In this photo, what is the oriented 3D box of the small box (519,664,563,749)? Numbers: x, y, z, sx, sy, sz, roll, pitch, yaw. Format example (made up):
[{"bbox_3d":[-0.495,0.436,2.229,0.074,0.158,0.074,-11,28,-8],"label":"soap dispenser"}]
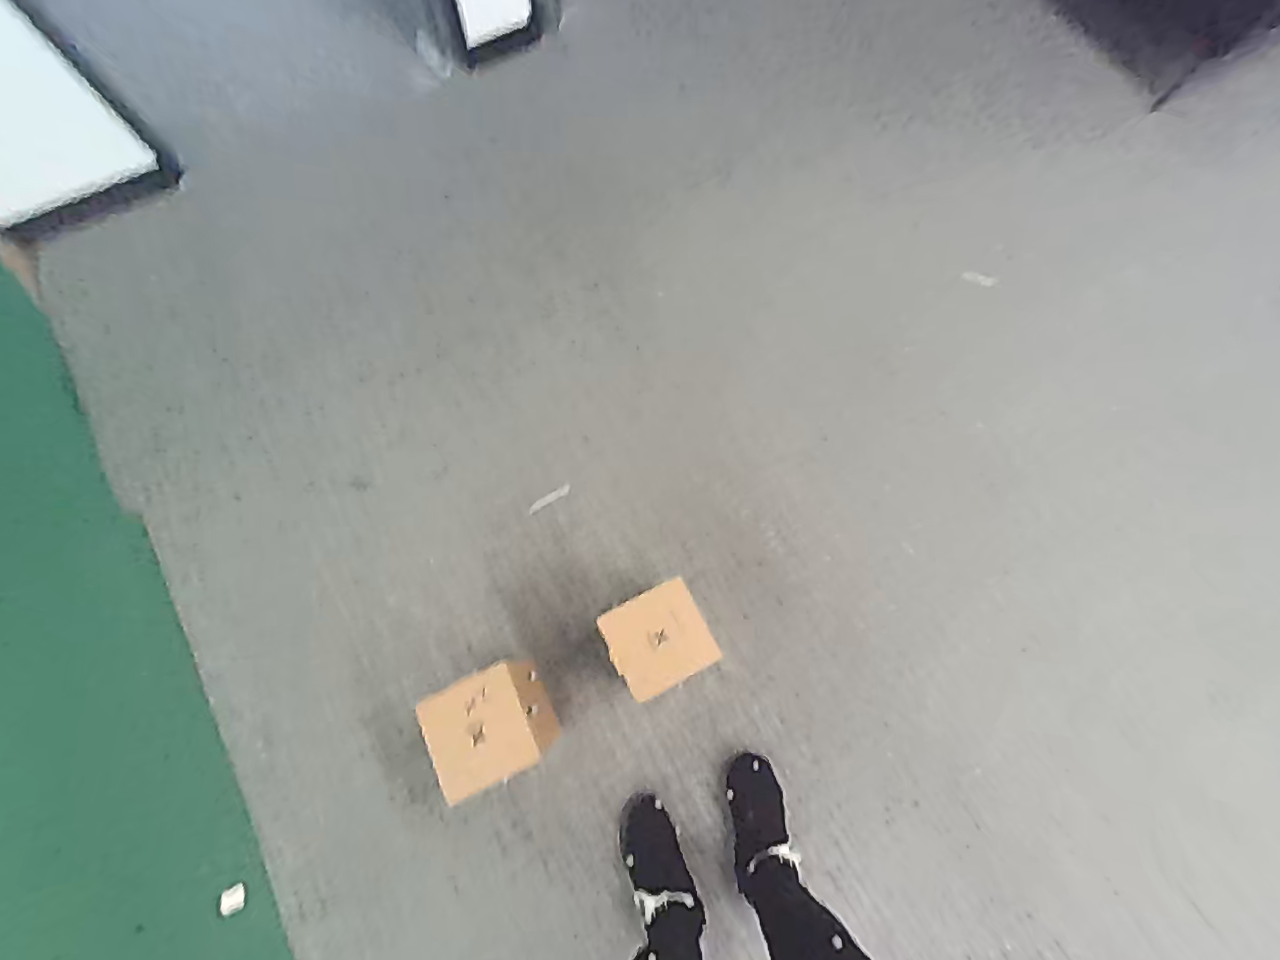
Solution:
[{"bbox_3d":[-0.277,0.508,1.151,0.168,0.176,0.179,-26,73,-9],"label":"small box"}]

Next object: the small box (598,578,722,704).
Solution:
[{"bbox_3d":[0.035,0.312,1.047,0.179,0.176,0.168,-26,75,-9],"label":"small box"}]

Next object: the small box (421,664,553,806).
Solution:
[{"bbox_3d":[-0.271,0.454,0.995,0.168,0.176,0.179,-24,74,-9],"label":"small box"}]
